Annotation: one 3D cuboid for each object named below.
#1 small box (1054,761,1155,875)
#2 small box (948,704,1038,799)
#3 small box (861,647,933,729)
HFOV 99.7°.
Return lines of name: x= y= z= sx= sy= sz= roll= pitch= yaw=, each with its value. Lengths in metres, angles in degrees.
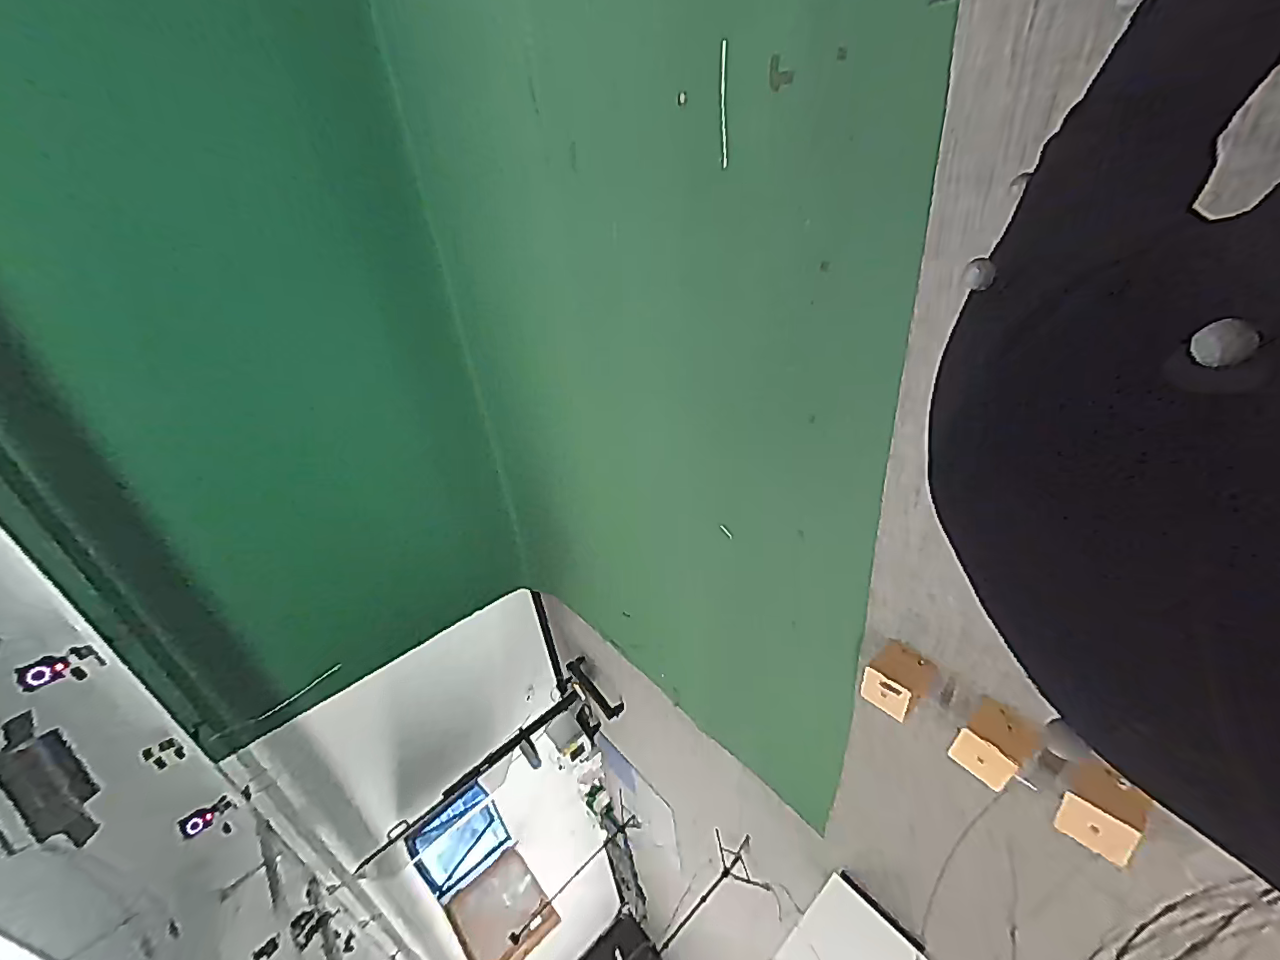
small box: x=1.315 y=0.949 z=1.529 sx=0.168 sy=0.176 sz=0.179 roll=23 pitch=130 yaw=44
small box: x=1.132 y=0.863 z=1.730 sx=0.168 sy=0.176 sz=0.179 roll=33 pitch=138 yaw=39
small box: x=0.923 y=0.739 z=1.938 sx=0.168 sy=0.176 sz=0.179 roll=29 pitch=136 yaw=42
